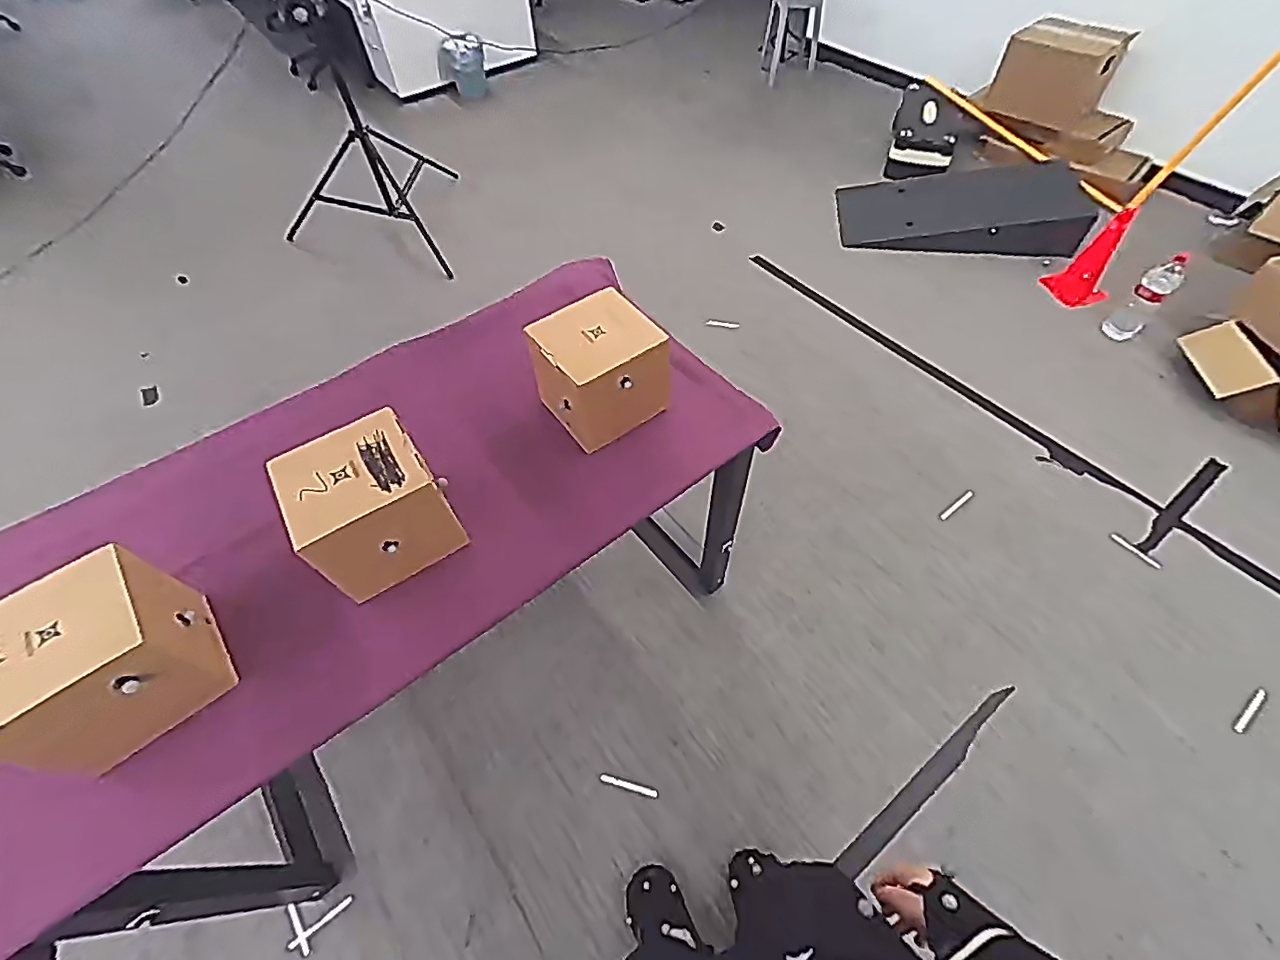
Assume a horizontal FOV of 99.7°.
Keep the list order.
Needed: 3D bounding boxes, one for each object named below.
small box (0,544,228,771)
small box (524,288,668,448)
[{"bbox_3d":[-0.648,0.217,0.657,0.179,0.176,0.168,-36,60,-20],"label":"small box"},{"bbox_3d":[-0.068,-0.185,0.917,0.179,0.176,0.168,-32,61,-19],"label":"small box"}]
